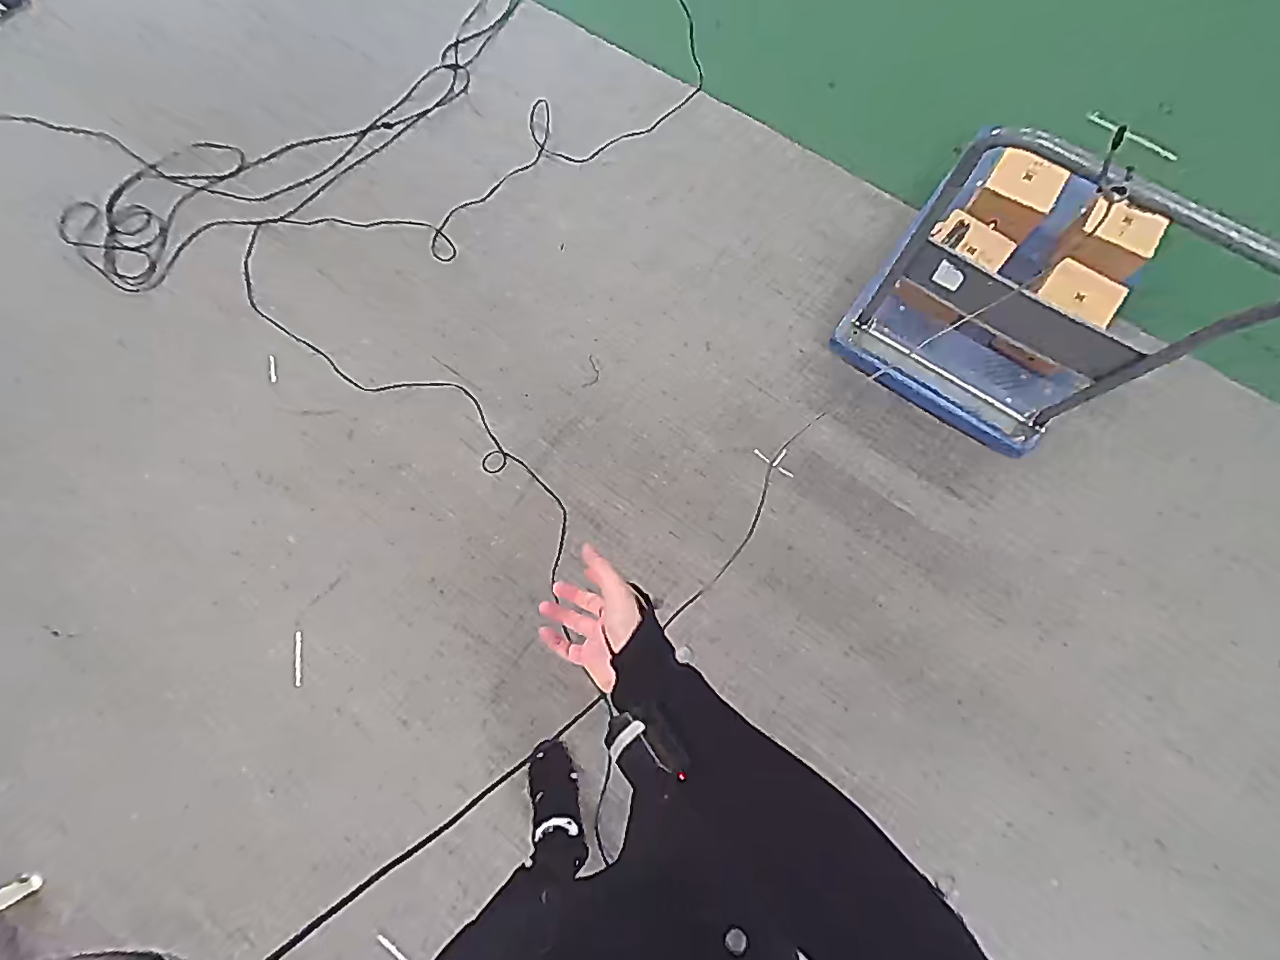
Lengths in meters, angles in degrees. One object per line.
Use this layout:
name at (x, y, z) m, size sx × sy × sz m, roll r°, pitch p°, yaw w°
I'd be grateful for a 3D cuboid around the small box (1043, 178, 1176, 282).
small box at (1.189, -0.617, 1.384) m, size 0.168 × 0.176 × 0.179 m, roll 31°, pitch 80°, yaw 11°

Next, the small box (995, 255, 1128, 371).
small box at (1.027, -0.405, 1.336) m, size 0.168 × 0.176 × 0.179 m, roll 36°, pitch 80°, yaw 11°

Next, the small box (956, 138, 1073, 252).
small box at (0.977, -0.744, 1.430) m, size 0.168 × 0.176 × 0.179 m, roll 32°, pitch 79°, yaw 10°
